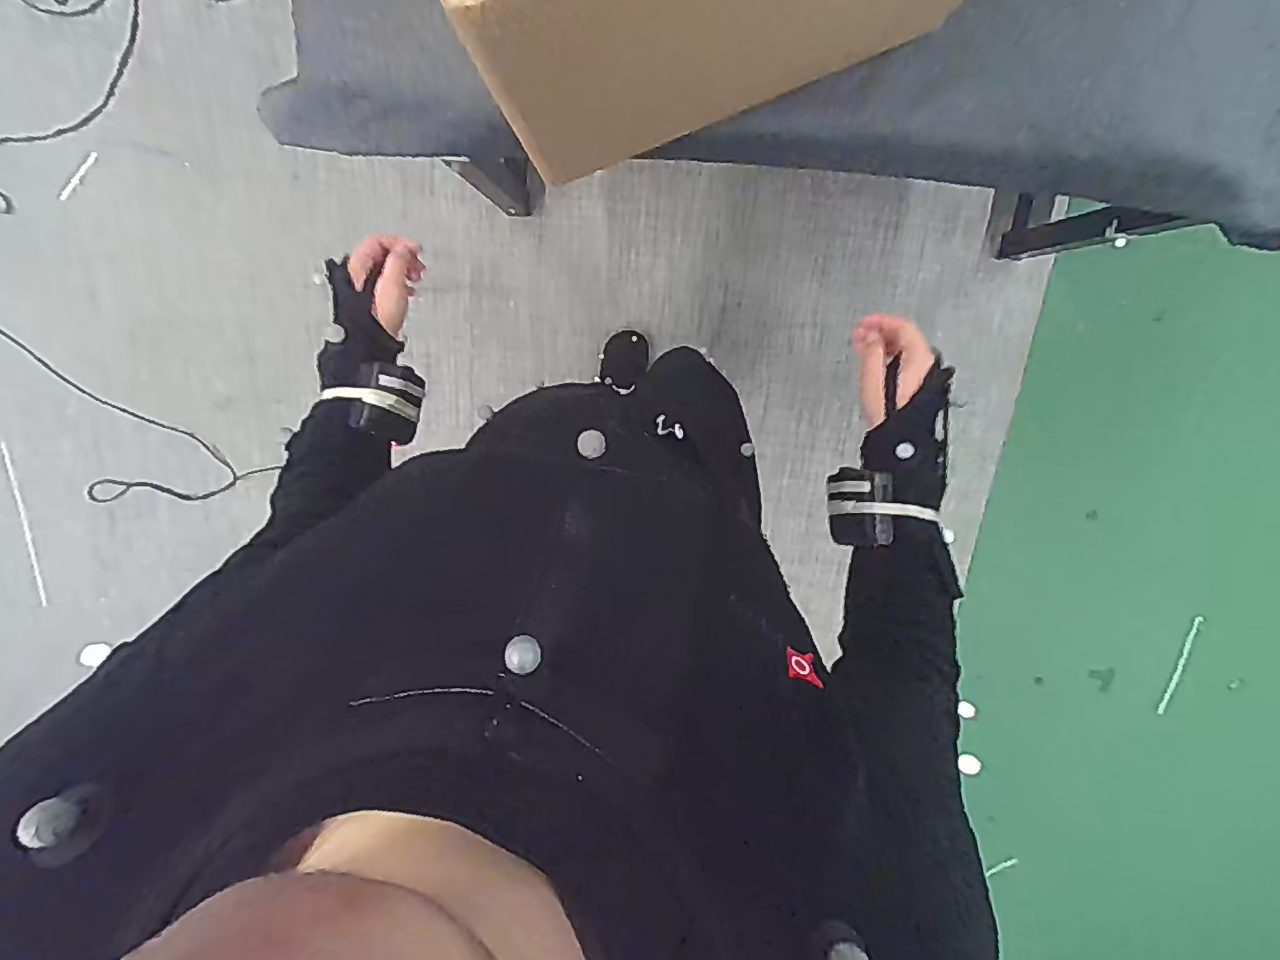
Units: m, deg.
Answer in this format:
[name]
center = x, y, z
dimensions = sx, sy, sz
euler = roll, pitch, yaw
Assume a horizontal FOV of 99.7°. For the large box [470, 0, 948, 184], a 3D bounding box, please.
[large box]
center = 0.043, -0.467, 0.354
dimensions = 0.408, 0.320, 0.320
euler = -21, 104, 4
